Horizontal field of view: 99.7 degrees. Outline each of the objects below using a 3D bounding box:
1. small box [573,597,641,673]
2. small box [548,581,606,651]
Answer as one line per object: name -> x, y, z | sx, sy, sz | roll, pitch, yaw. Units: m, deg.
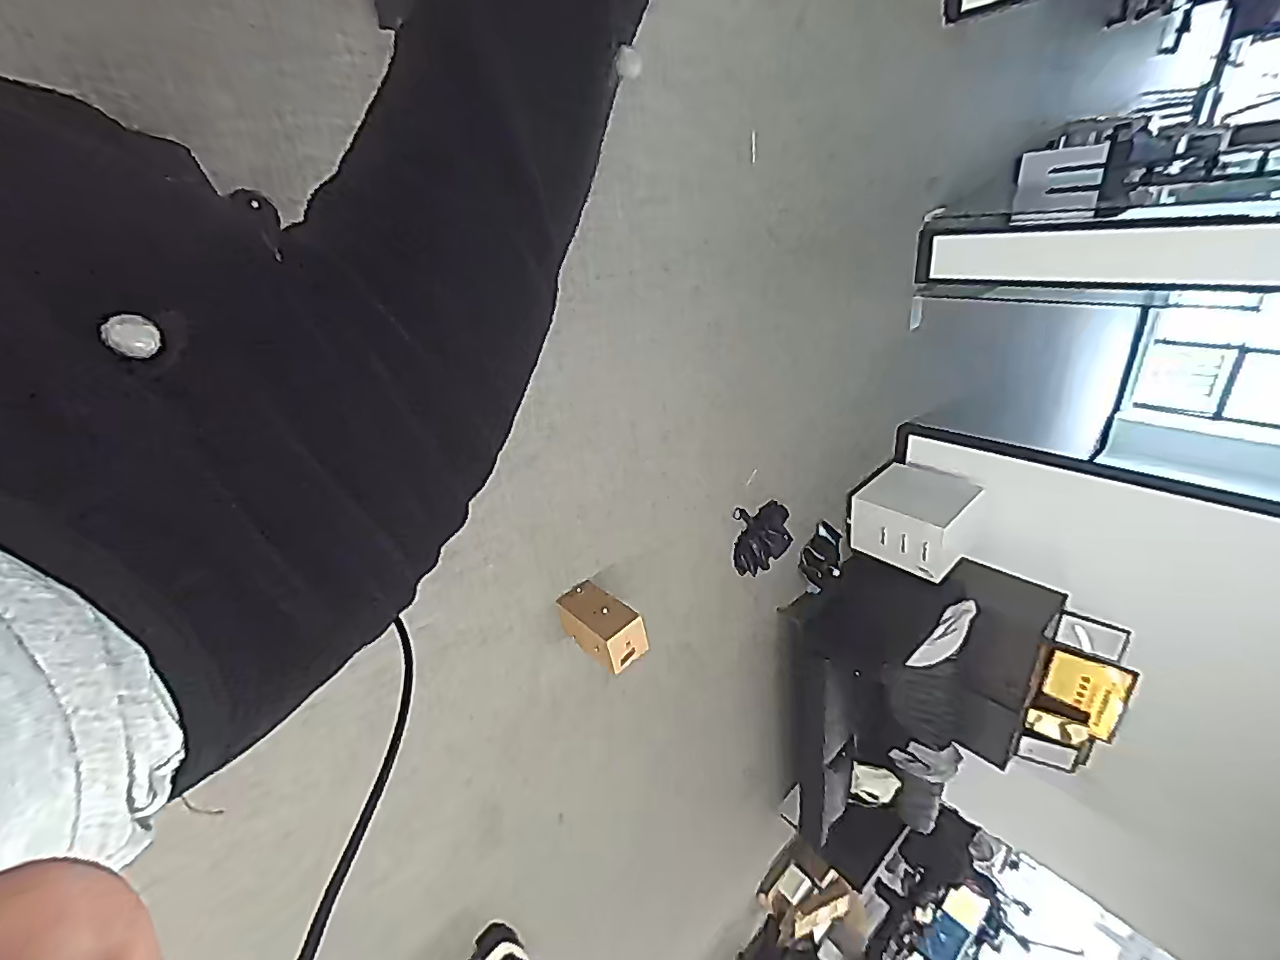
small box -> -0.123, 0.567, 2.002 | 0.168, 0.176, 0.179 | -32, 126, -31
small box -> -0.233, 0.527, 2.118 | 0.168, 0.176, 0.179 | -32, 125, -32
